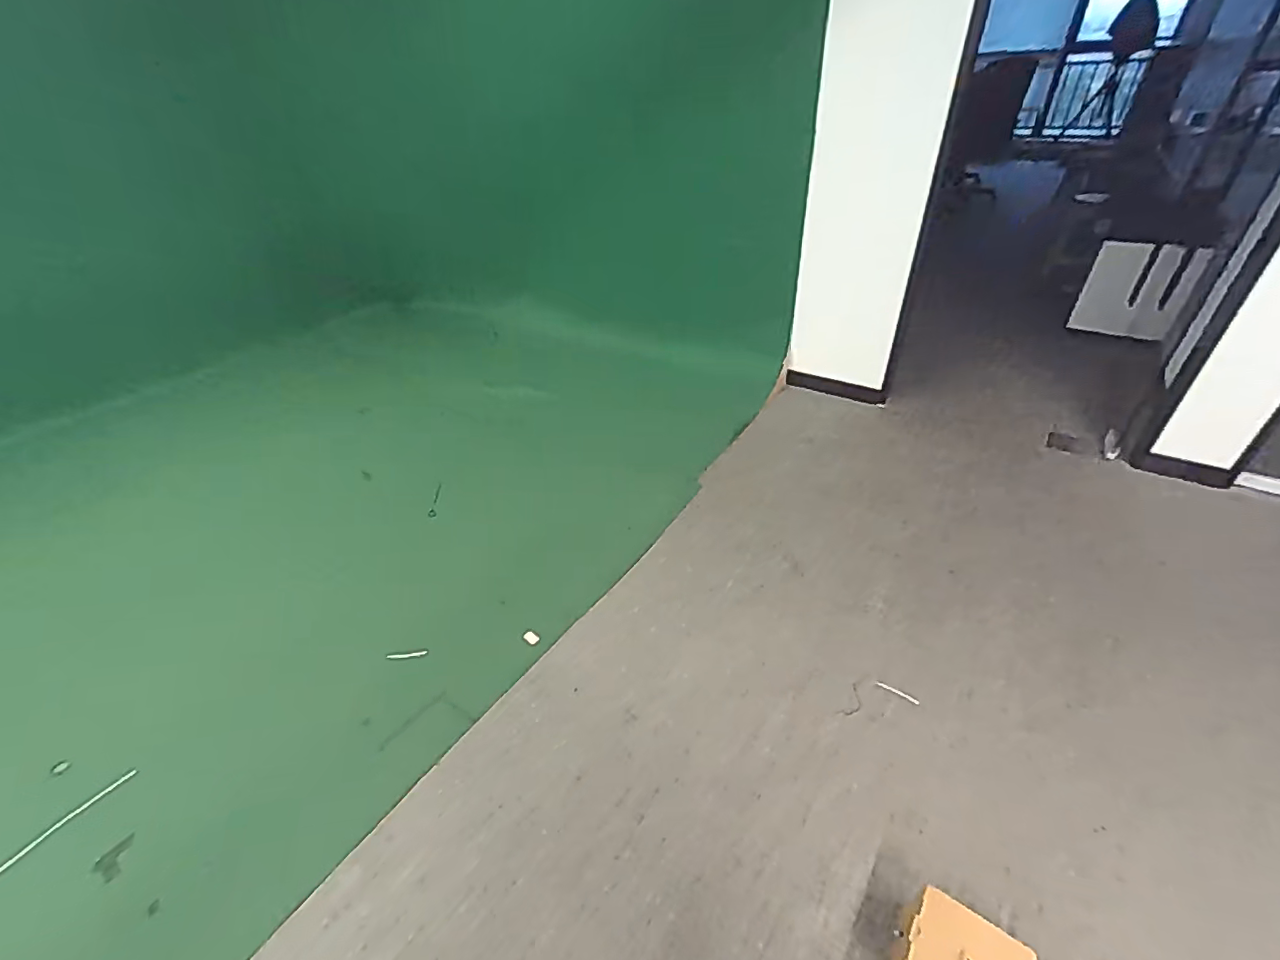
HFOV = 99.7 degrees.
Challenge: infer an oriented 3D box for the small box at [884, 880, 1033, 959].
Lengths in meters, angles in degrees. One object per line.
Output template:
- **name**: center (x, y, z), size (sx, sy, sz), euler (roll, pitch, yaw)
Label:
- **small box**: center (0.542, 0.857, 0.941), size (0.179, 0.176, 0.168), euler (22, 46, 29)
